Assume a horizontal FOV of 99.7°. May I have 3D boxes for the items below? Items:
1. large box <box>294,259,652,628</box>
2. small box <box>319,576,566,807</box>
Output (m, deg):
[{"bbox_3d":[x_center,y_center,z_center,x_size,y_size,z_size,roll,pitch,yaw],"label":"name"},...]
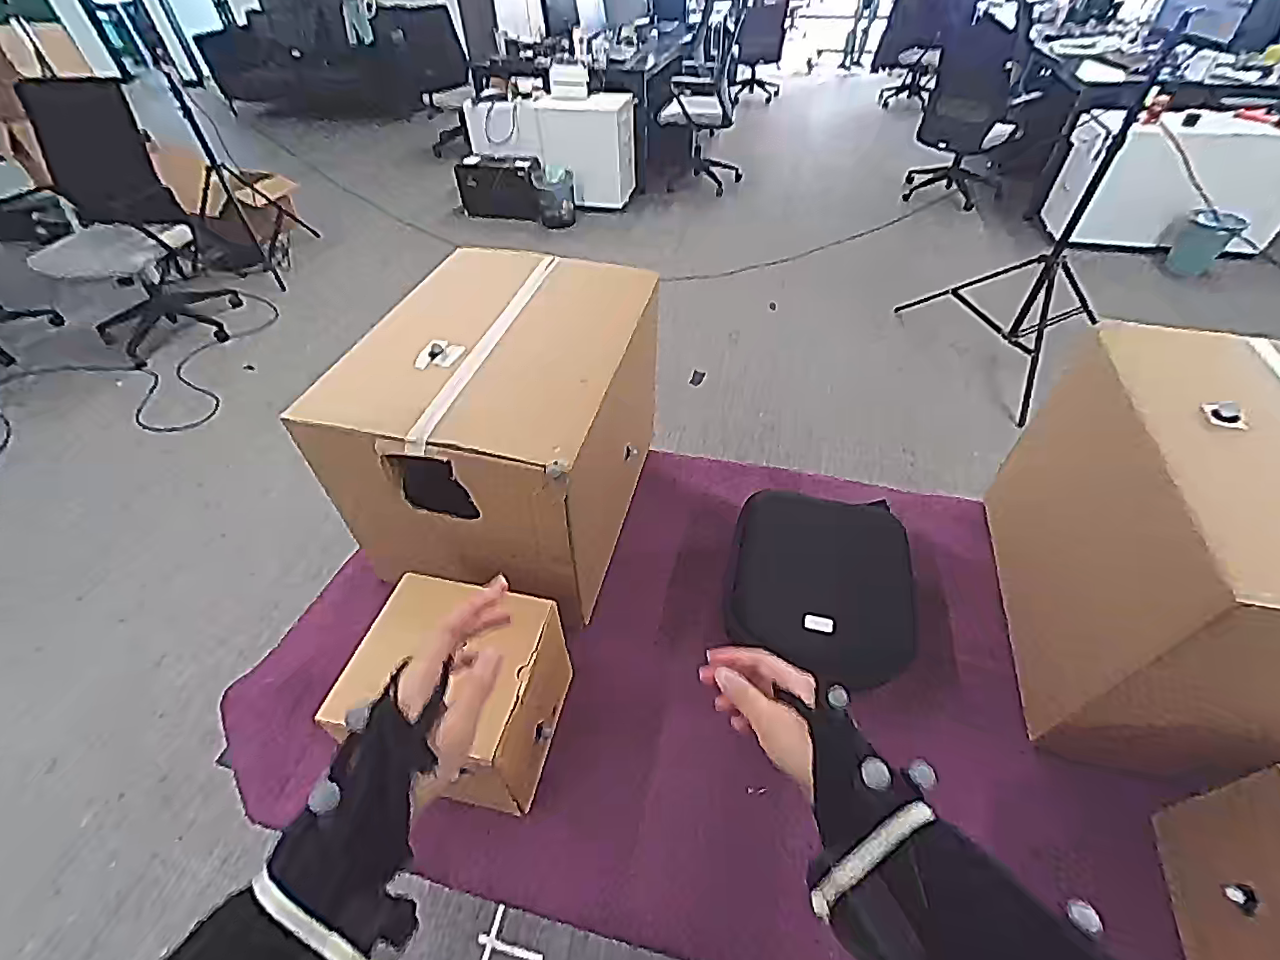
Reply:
[{"bbox_3d":[-0.172,-0.063,0.774,0.320,0.320,0.408,9,49,9],"label":"large box"},{"bbox_3d":[-0.192,0.230,0.587,0.179,0.176,0.168,8,45,8],"label":"small box"}]
